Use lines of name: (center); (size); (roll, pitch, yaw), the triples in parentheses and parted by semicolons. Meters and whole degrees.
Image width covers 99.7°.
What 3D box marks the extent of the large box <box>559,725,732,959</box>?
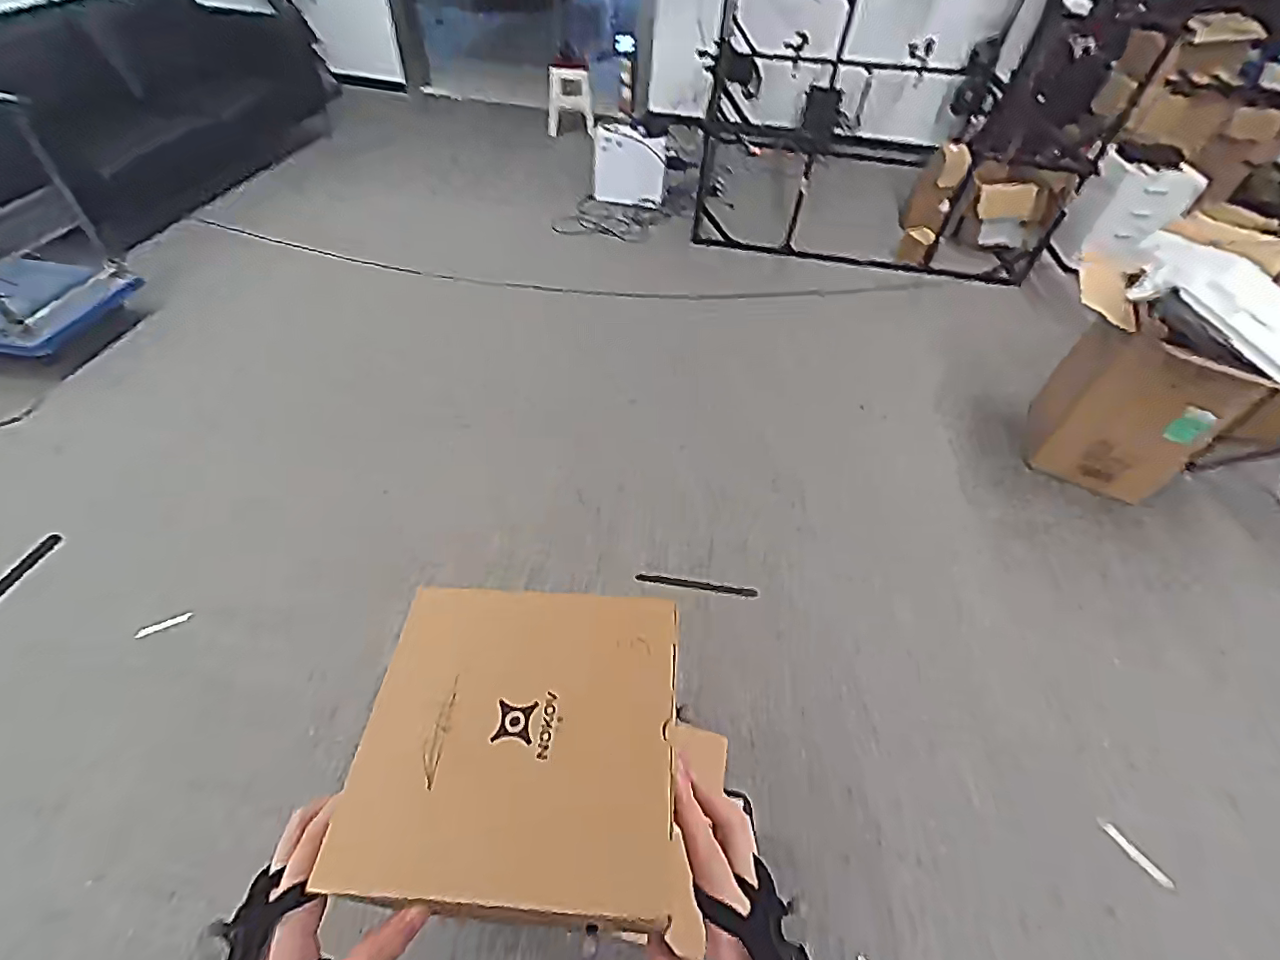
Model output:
large box: (-0.066, 0.624, 0.985); (0.408, 0.320, 0.320); (12, 48, 7)

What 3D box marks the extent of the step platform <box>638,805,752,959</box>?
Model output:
step platform: (-0.107, 0.781, 1.161); (0.684, 0.204, 0.286); (13, 48, 9)

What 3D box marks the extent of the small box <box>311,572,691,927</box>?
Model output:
small box: (-0.060, 0.180, 0.357); (0.179, 0.176, 0.168); (3, 48, 4)
